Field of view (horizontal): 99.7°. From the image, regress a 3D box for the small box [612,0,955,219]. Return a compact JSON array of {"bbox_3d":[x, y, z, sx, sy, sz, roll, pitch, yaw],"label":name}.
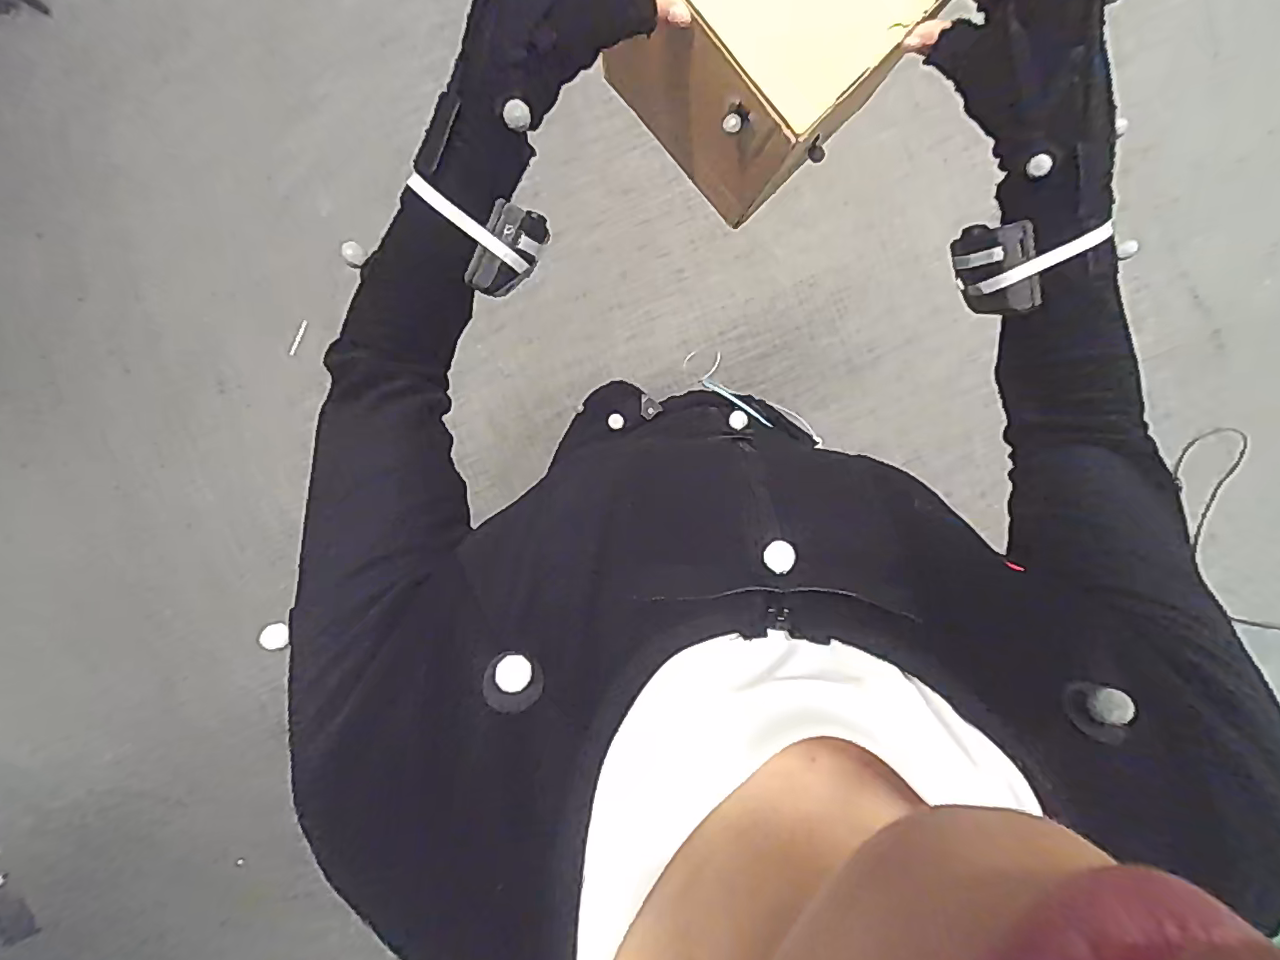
[{"bbox_3d":[0.091,-0.336,0.400,0.168,0.176,0.179,-43,99,2],"label":"small box"}]
